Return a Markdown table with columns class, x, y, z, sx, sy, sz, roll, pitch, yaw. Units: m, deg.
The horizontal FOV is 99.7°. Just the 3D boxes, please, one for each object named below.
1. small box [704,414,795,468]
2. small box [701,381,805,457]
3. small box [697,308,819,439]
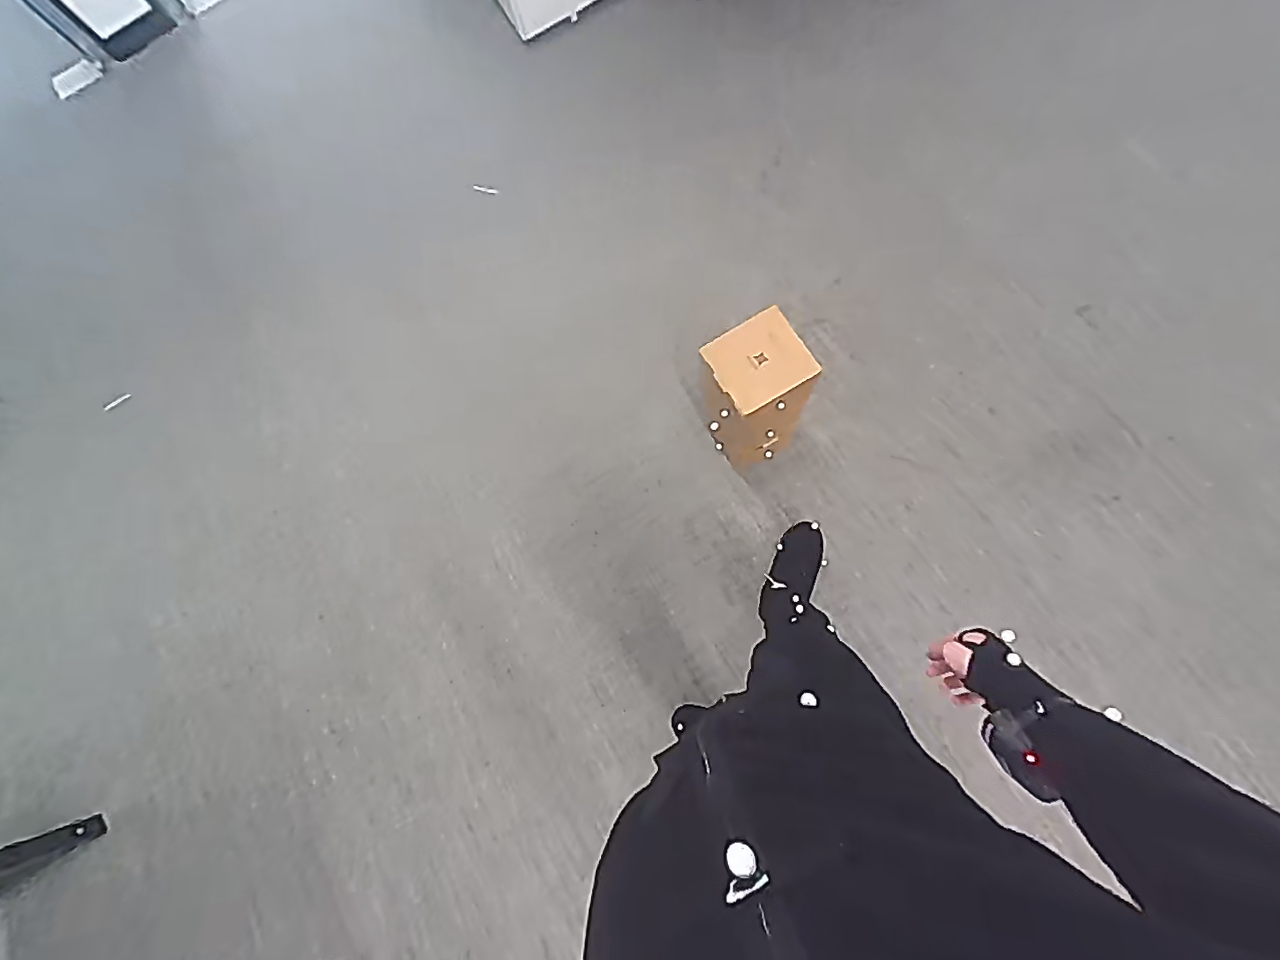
| class | x | y | z | sx | sy | sz | roll | pitch | yaw |
| --- | --- | --- | --- | --- | --- | --- | --- | --- | --- |
| small box | 0.282 | -0.145 | 1.426 | 0.168 | 0.176 | 0.179 | -30 | 75 | -1 |
| small box | 0.256 | -0.178 | 1.266 | 0.179 | 0.176 | 0.168 | -31 | 75 | 0 |
| small box | 0.234 | -0.208 | 1.109 | 0.179 | 0.176 | 0.168 | -30 | 76 | -2 |
